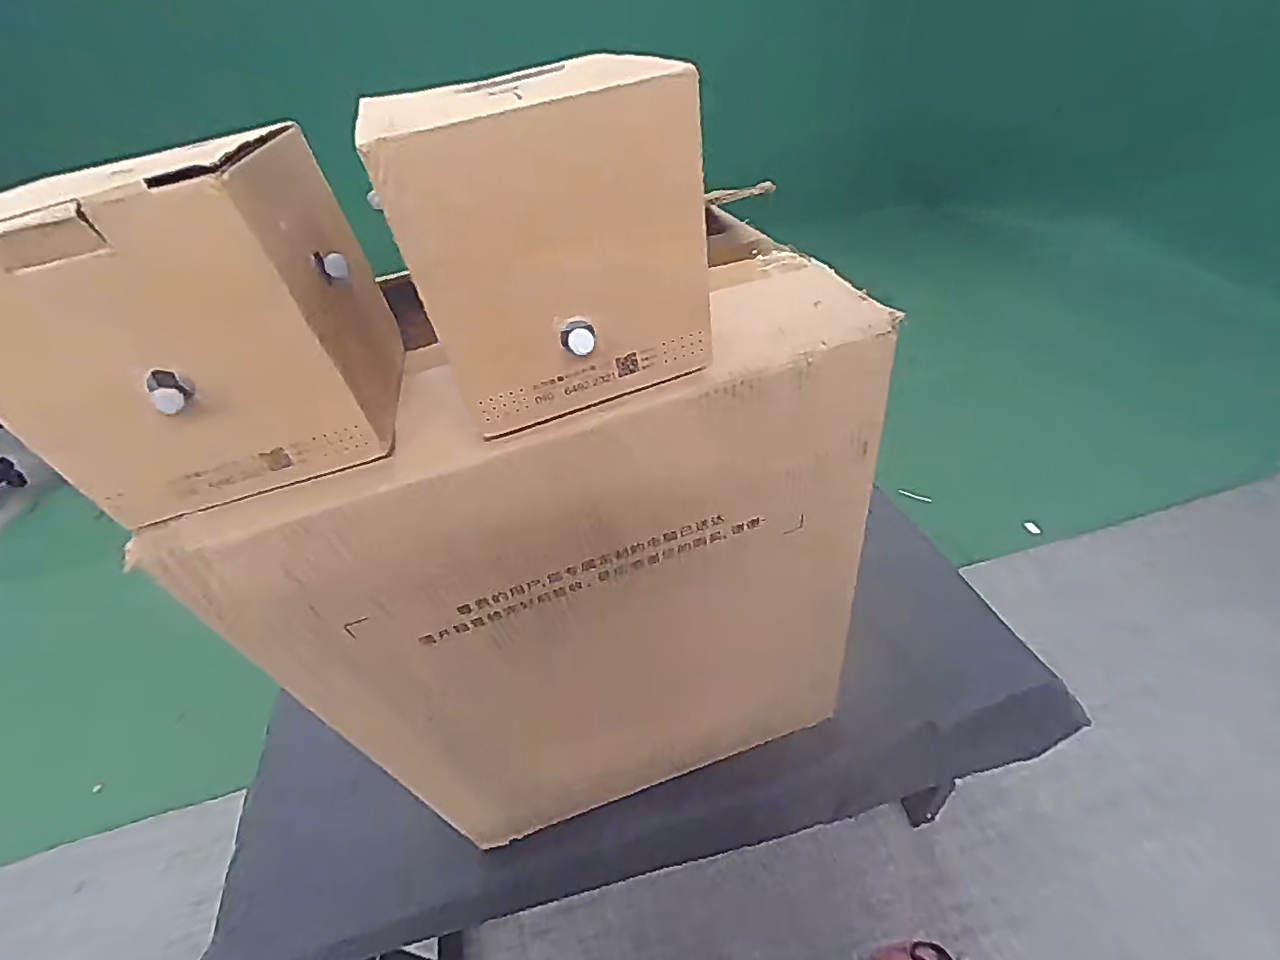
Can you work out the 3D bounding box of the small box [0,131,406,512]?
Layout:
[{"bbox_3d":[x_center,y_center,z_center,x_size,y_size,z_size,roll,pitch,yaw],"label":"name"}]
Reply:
[{"bbox_3d":[-0.271,-0.099,0.353,0.168,0.176,0.179,-17,42,-6],"label":"small box"}]

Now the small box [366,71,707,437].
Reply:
[{"bbox_3d":[-0.064,-0.157,0.368,0.168,0.176,0.179,-20,44,-10],"label":"small box"}]
